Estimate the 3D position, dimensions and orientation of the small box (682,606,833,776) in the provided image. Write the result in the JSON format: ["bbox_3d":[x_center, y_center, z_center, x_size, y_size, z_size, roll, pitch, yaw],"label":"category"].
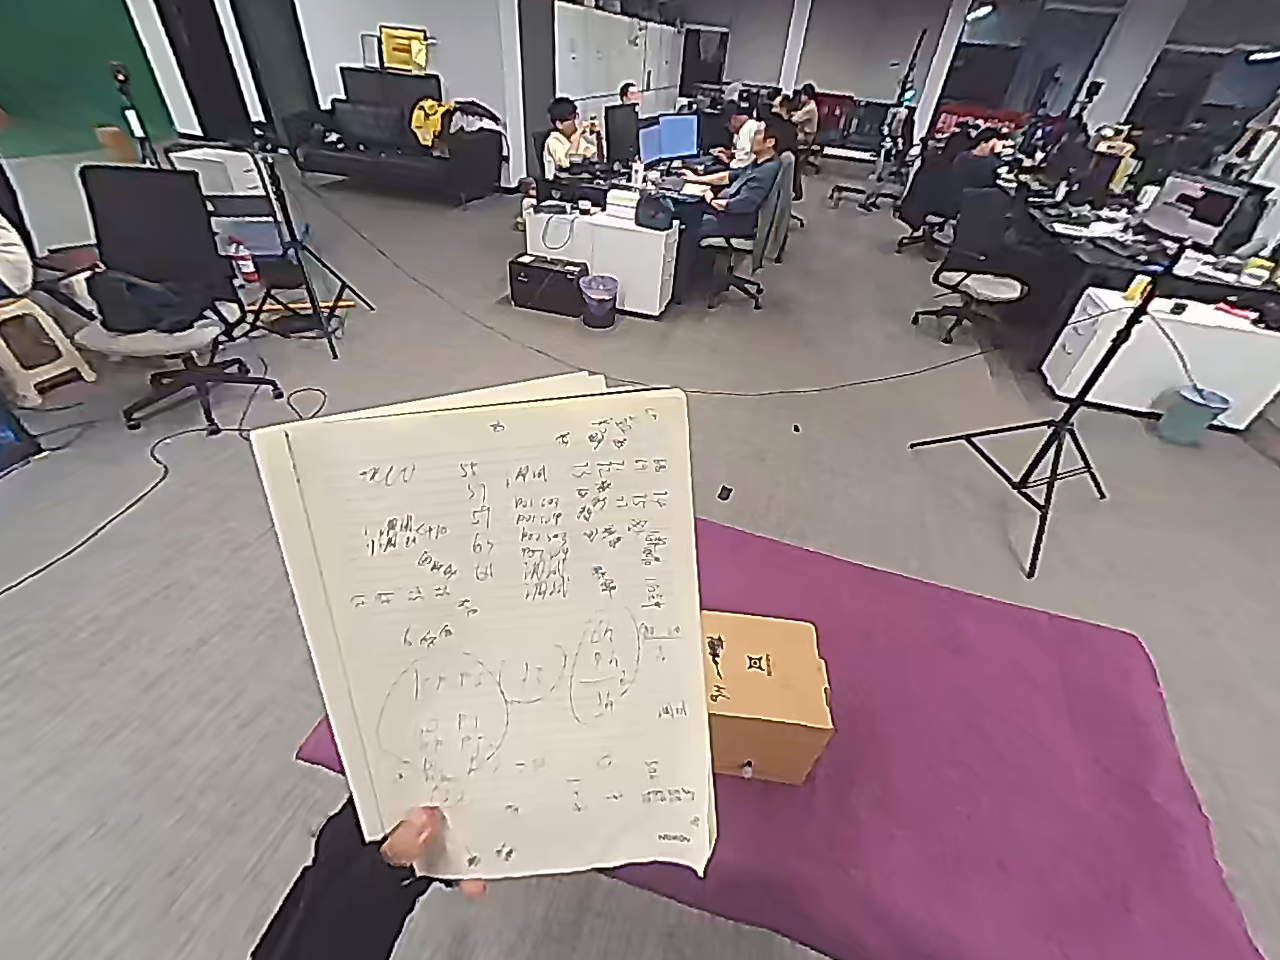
[{"bbox_3d":[0.163,0.315,0.803,0.179,0.176,0.168,7,38,2],"label":"small box"}]
